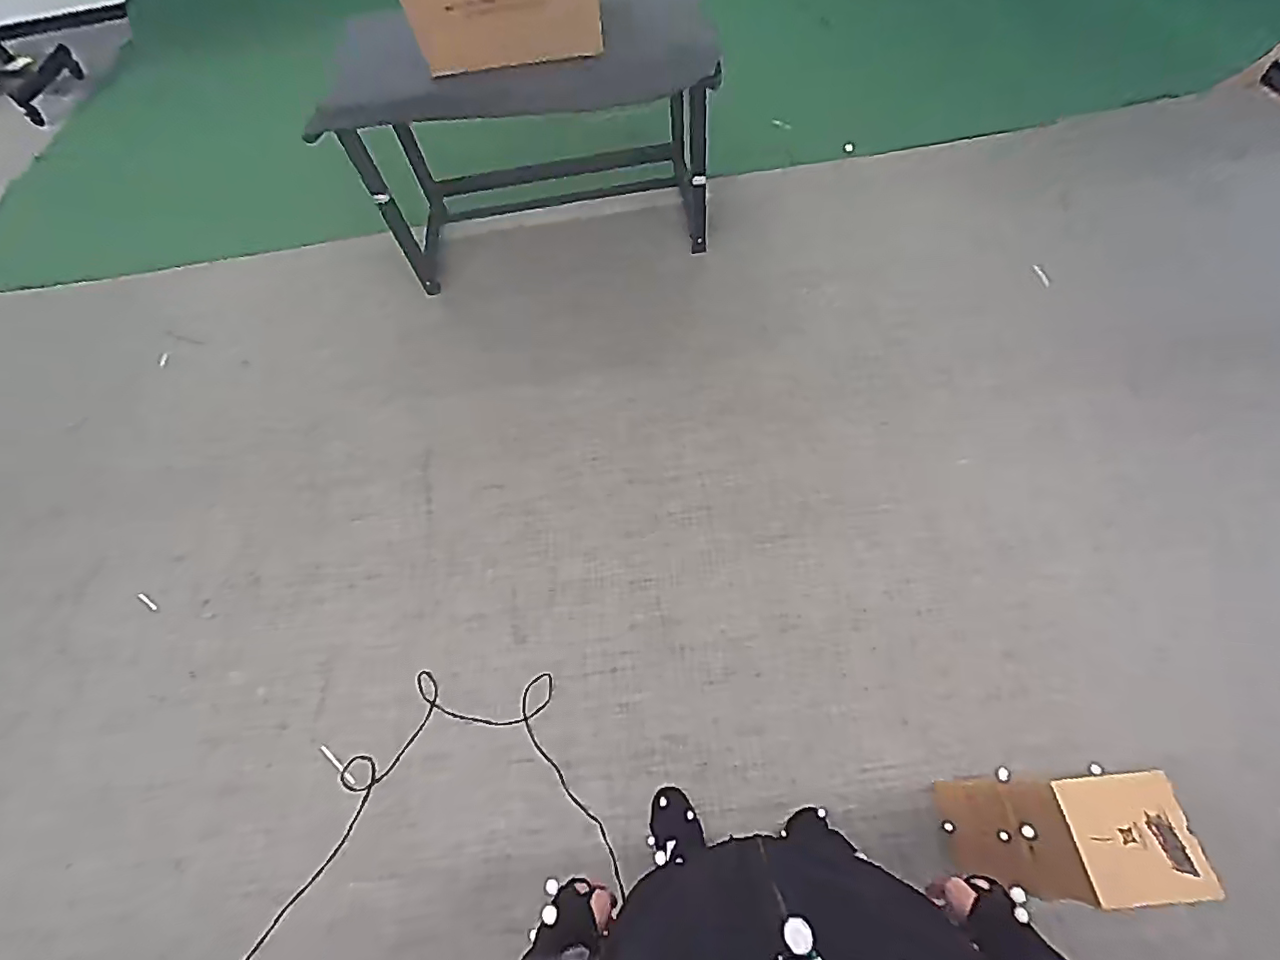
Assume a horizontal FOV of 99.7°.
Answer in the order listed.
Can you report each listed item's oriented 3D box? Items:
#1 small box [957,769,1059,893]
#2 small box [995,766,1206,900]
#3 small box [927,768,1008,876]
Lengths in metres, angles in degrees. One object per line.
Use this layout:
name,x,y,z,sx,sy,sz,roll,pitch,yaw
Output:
small box,0.750,0.661,1.039,0.168,0.176,0.179,-8,64,1
small box,0.742,0.574,0.898,0.179,0.176,0.168,-7,61,3
small box,0.763,0.737,1.181,0.168,0.176,0.179,-7,62,1
